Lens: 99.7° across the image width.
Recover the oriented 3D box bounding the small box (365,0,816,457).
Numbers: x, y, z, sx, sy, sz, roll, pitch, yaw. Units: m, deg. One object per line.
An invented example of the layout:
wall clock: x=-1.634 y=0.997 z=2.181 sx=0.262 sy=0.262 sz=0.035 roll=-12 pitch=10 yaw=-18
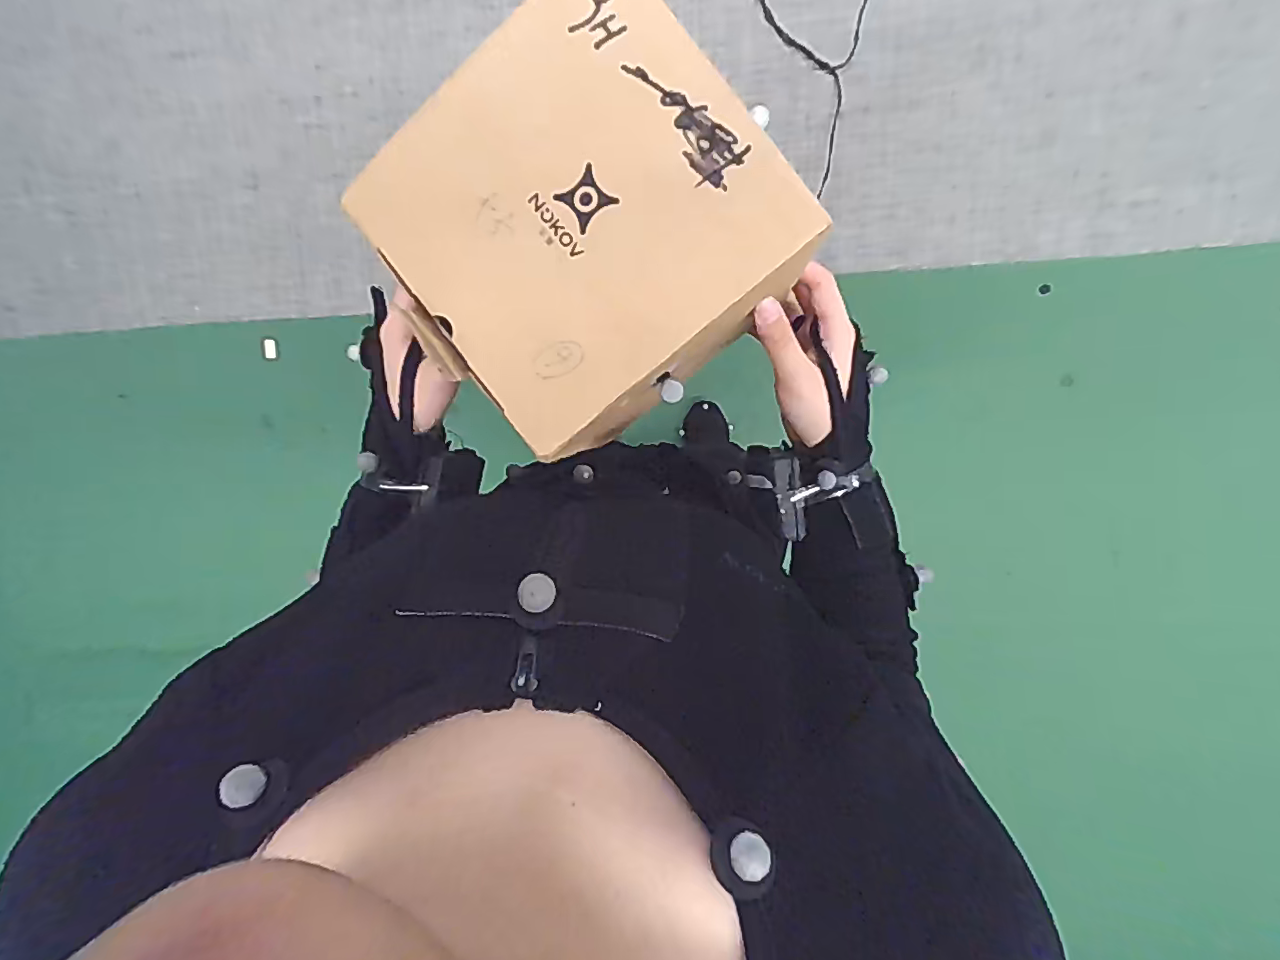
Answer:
small box: x=-0.019 y=-0.134 z=0.346 sx=0.179 sy=0.176 sz=0.168 roll=-38 pitch=91 yaw=10
